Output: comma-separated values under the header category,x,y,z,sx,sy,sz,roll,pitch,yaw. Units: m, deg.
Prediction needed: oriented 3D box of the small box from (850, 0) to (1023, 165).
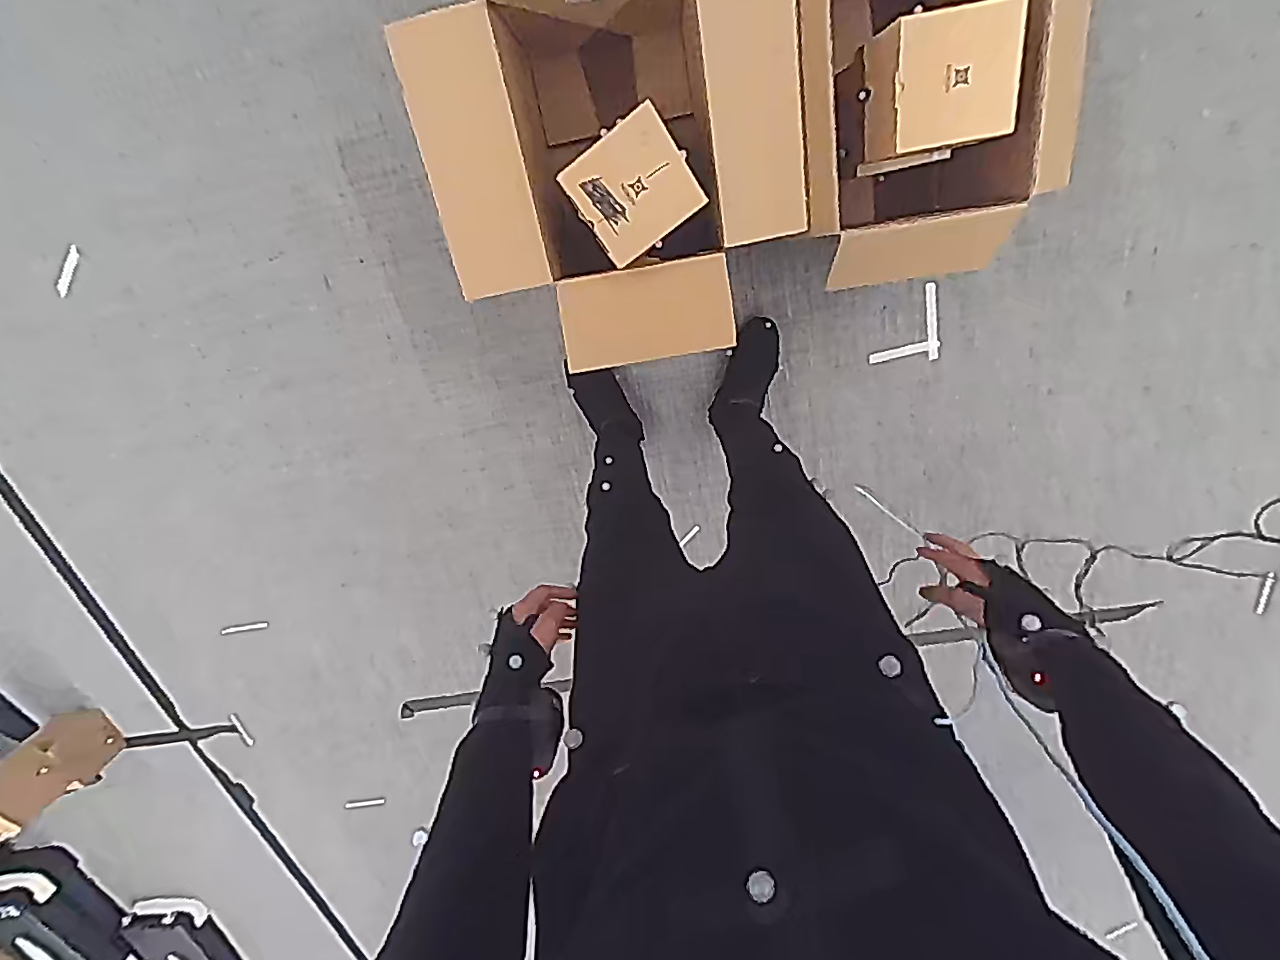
category,x,y,z,sx,sy,sz,roll,pitch,yaw
small box,0.445,-0.601,0.840,0.179,0.176,0.168,-9,115,5
